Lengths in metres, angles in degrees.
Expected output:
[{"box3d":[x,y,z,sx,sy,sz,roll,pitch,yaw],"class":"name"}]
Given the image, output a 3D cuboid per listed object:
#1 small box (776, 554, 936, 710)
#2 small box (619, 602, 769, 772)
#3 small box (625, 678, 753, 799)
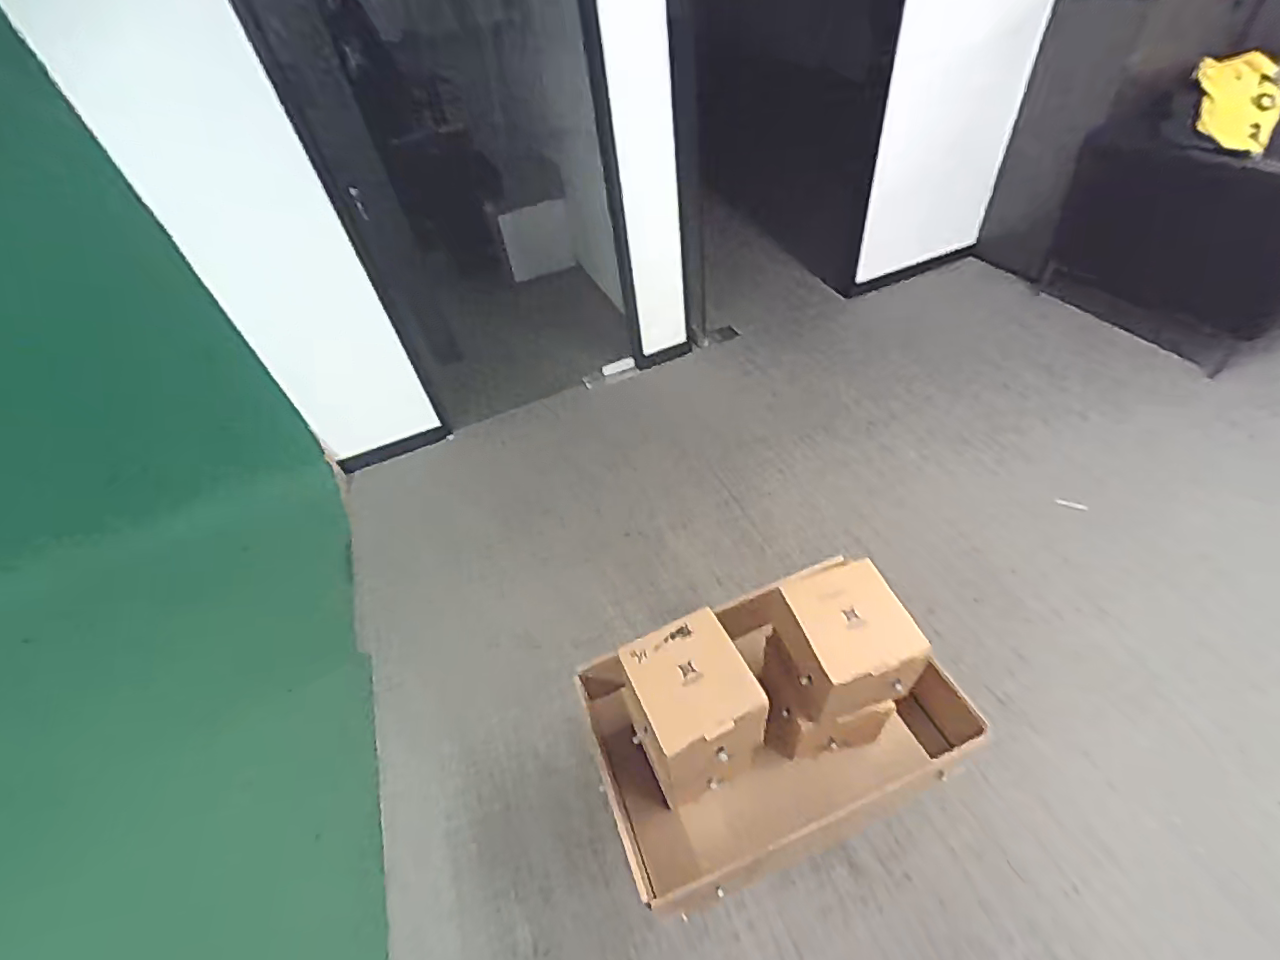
[{"box3d":[0.337,0.254,0.883,0.168,0.176,0.179,-15,47,-7],"class":"small box"},{"box3d":[0.083,0.331,0.847,0.168,0.176,0.179,-22,48,-12],"class":"small box"},{"box3d":[0.087,0.435,0.974,0.168,0.176,0.179,-22,48,-12],"class":"small box"}]
